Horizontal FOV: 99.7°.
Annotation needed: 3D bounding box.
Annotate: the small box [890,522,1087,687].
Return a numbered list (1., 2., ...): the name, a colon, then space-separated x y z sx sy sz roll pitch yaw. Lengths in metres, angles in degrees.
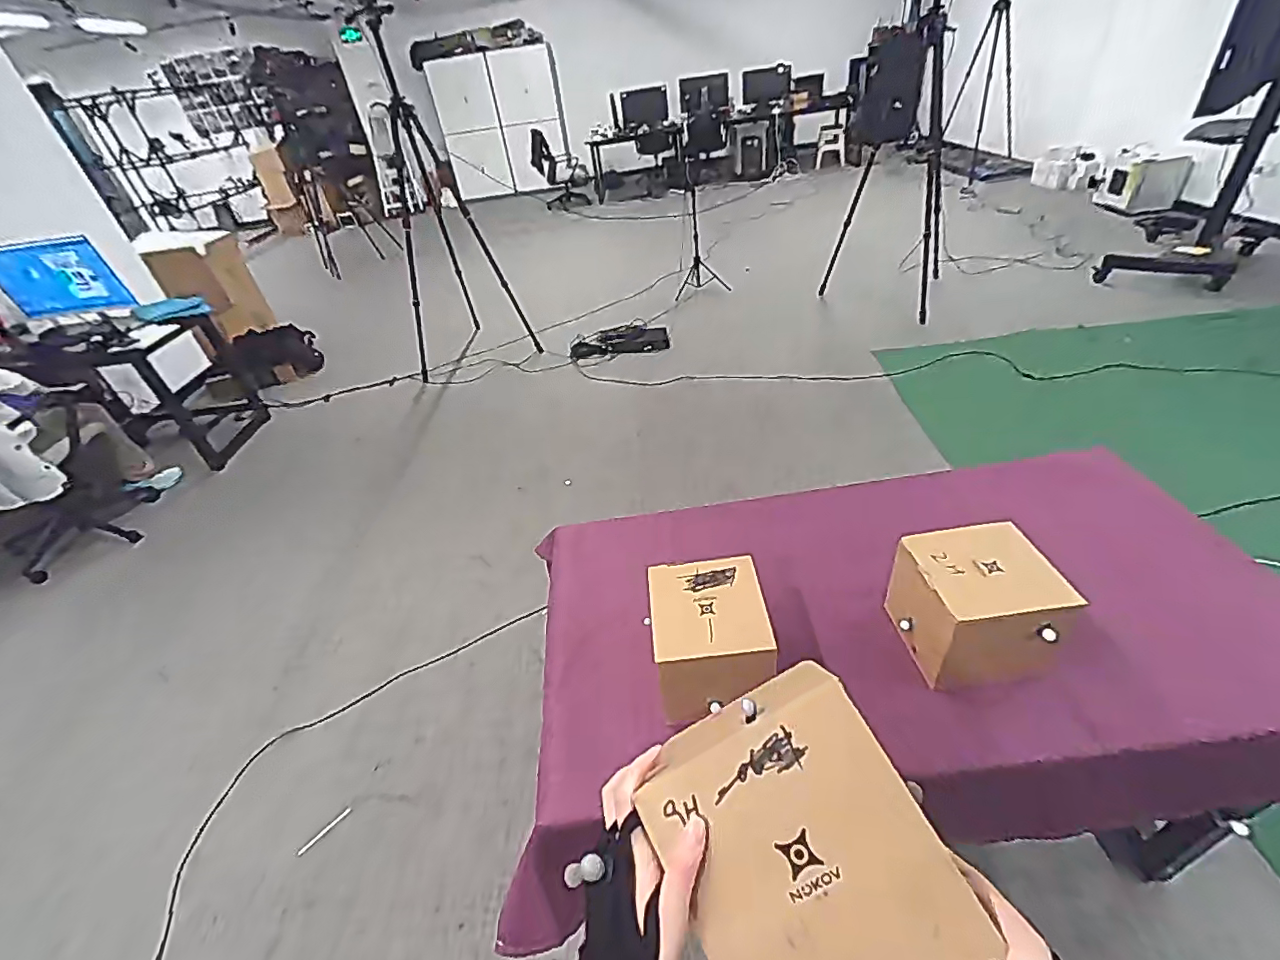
1. small box: 0.506 0.189 0.819 0.179 0.176 0.168 -9 37 2

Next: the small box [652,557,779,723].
1. small box: 0.111 0.246 0.835 0.168 0.176 0.179 -8 38 3

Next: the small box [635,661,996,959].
1. small box: 0.120 0.265 0.426 0.168 0.176 0.179 -31 73 2
